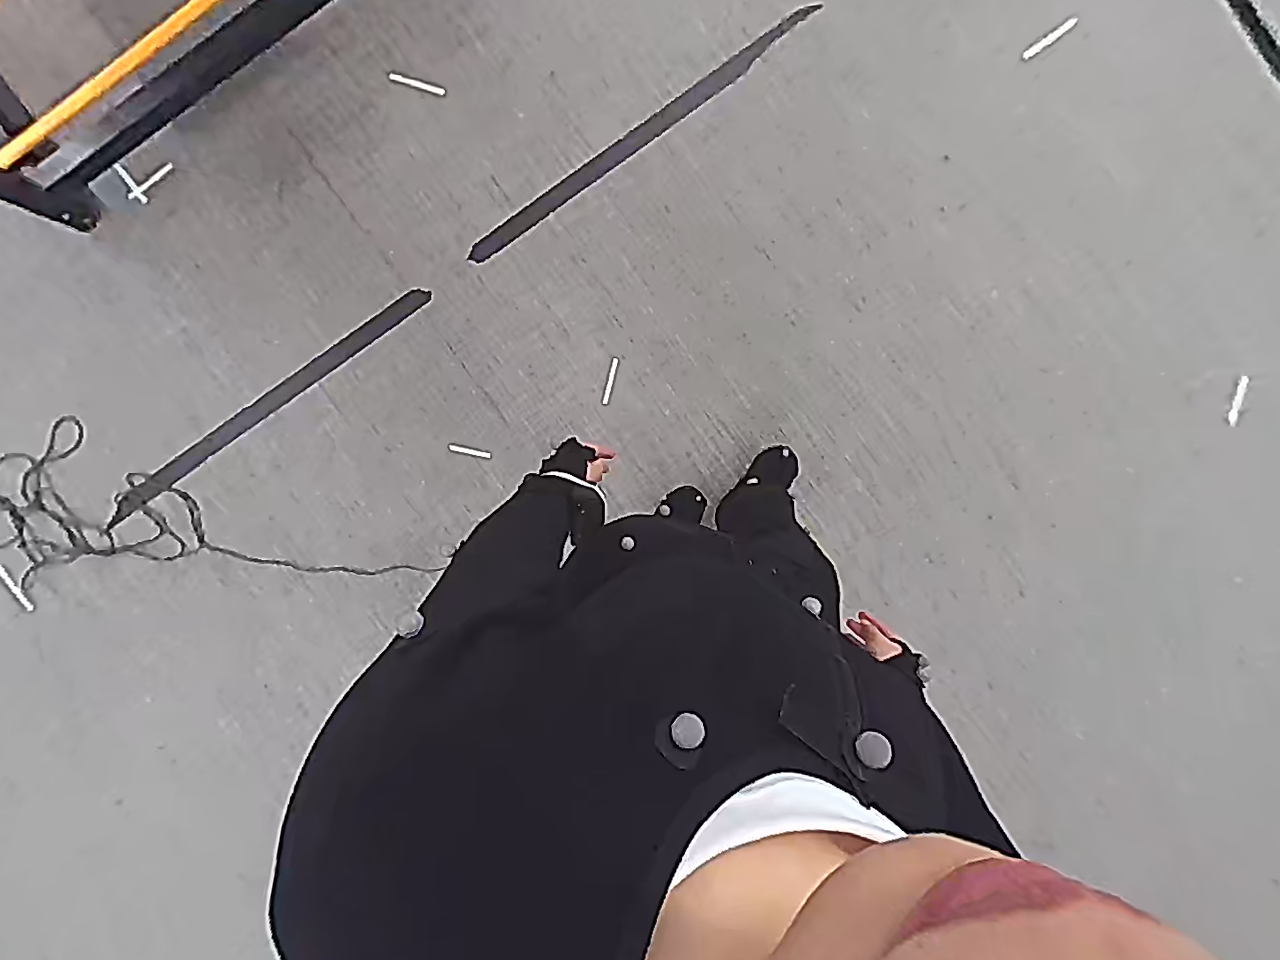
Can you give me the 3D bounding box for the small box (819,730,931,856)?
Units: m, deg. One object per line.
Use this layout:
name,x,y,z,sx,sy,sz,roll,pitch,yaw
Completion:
small box,0.569,0.767,1.345,0.179,0.176,0.168,-36,92,1

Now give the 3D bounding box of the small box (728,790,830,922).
small box,0.337,0.932,1.355,0.179,0.176,0.168,-34,92,1
